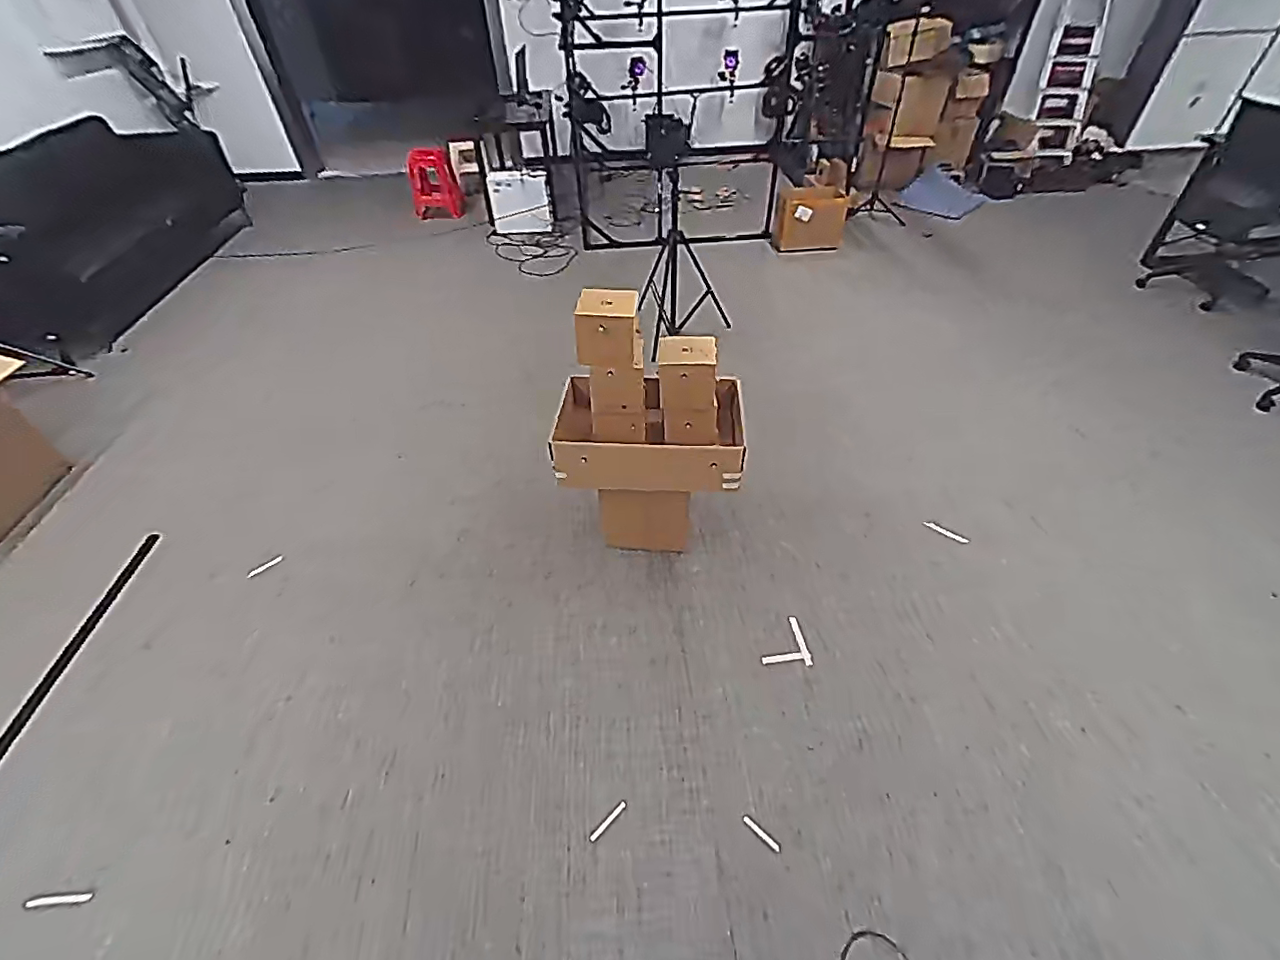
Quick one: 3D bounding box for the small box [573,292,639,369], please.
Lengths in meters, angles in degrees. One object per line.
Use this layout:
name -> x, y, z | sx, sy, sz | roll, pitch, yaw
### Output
small box -> -0.097, -0.448, 1.624 | 0.179, 0.176, 0.168 | 3, 44, 3
